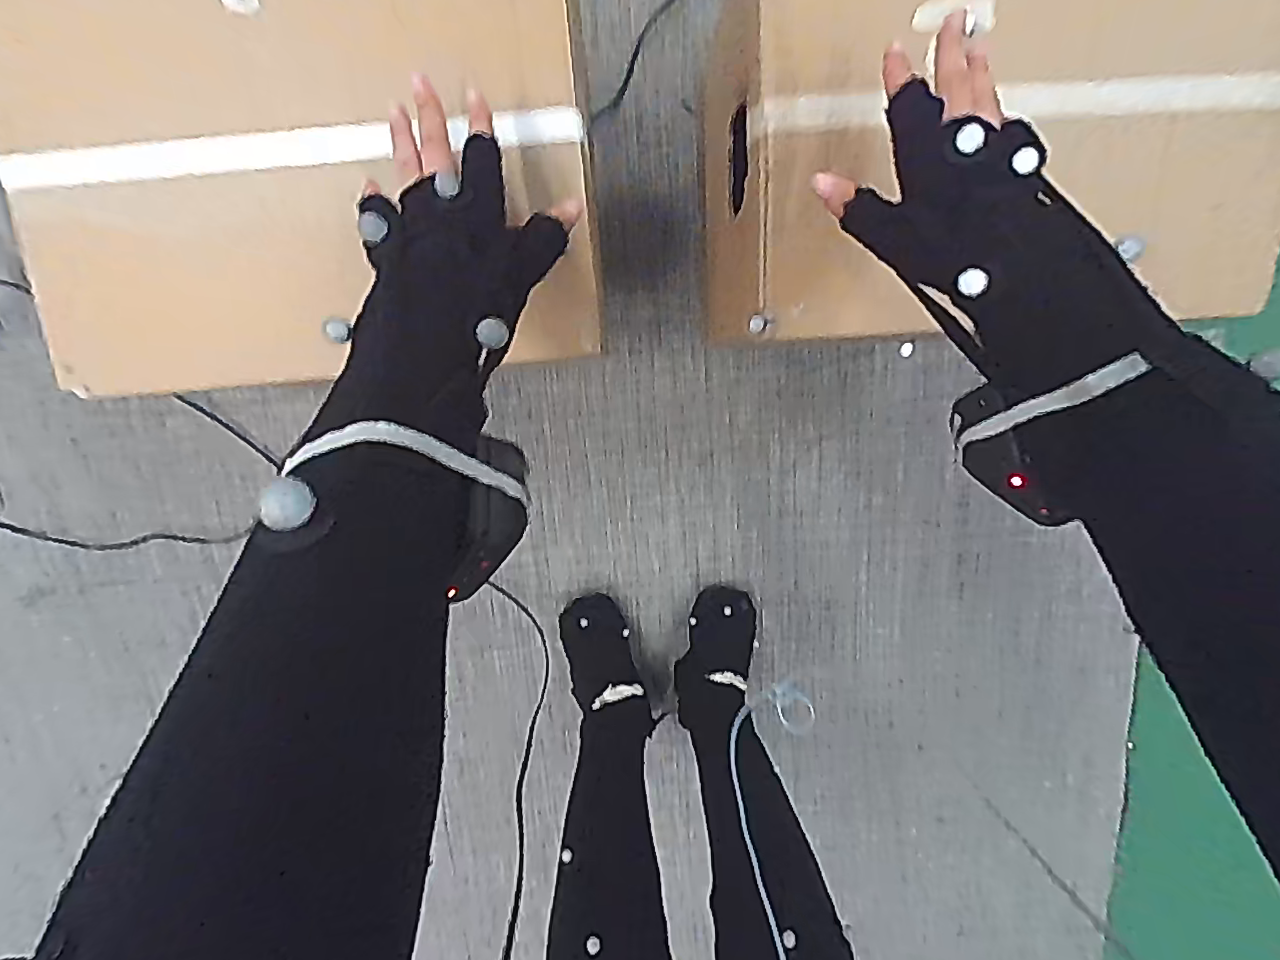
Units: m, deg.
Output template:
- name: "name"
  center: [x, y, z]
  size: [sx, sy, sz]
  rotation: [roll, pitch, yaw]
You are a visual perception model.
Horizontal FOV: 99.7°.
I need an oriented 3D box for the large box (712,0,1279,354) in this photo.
- name: "large box"
  center: [0.296, -0.300, 0.566]
  size: [0.408, 0.320, 0.320]
  rotation: [-2, 102, -1]
